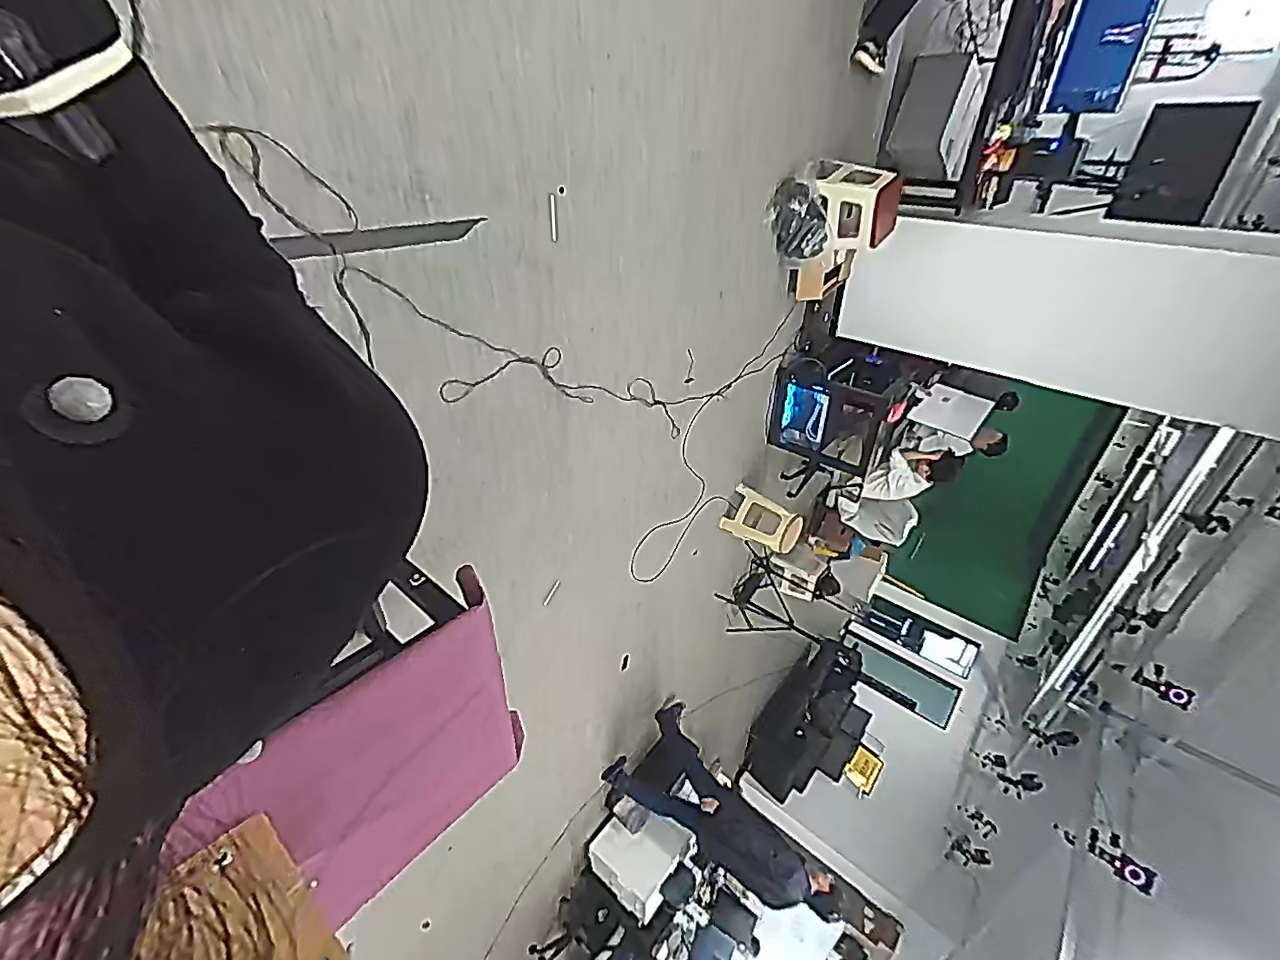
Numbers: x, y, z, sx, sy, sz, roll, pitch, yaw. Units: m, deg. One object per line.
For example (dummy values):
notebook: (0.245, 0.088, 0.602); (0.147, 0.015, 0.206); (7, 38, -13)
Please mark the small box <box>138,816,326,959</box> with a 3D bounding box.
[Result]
small box: (-0.637, 0.682, 0.854); (0.168, 0.176, 0.179); (-32, 136, -43)
